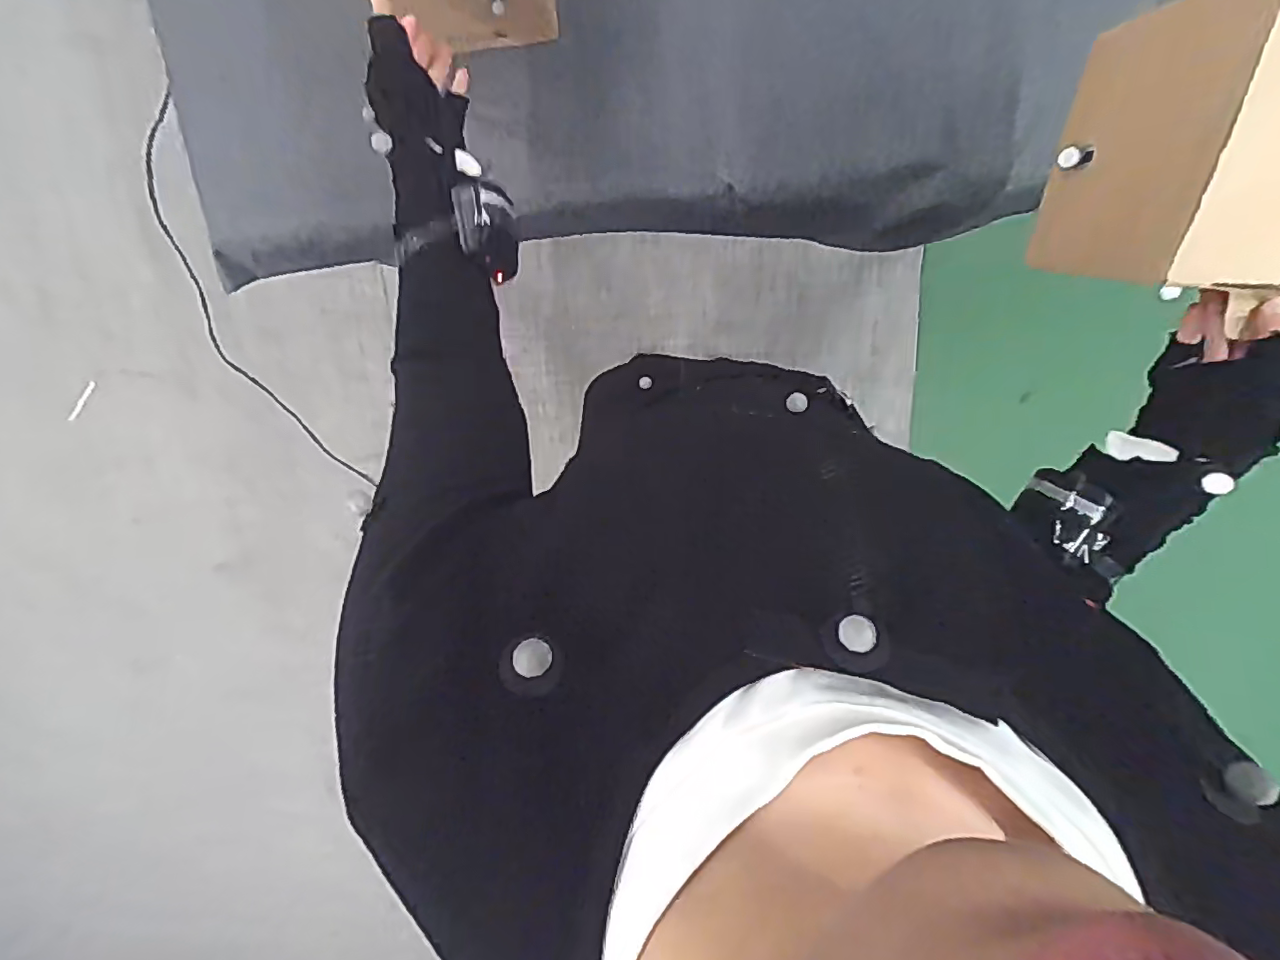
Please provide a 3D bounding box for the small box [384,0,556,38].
[{"bbox_3d":[-0.180,-0.553,0.503,0.168,0.176,0.179,-6,103,2],"label":"small box"}]
